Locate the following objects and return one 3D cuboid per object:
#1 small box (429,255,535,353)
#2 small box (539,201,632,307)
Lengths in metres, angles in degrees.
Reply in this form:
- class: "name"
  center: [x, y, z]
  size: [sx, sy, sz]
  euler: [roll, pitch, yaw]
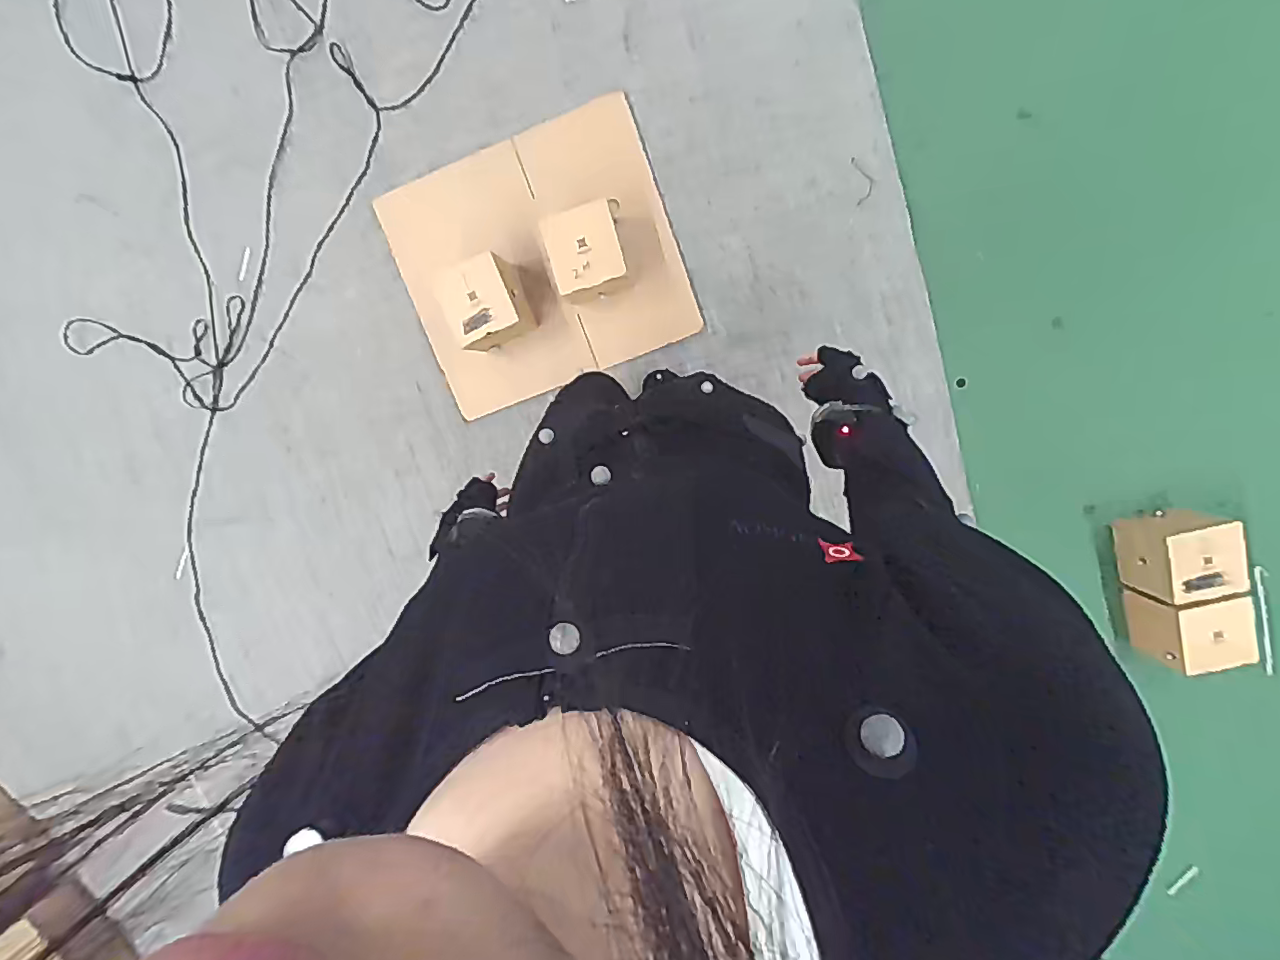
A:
- class: "small box"
  center: [-0.379, -0.424, 1.334]
  size: [0.168, 0.176, 0.179]
  euler: [-22, 98, 8]
- class: "small box"
  center: [-0.124, -0.533, 1.299]
  size: [0.168, 0.176, 0.179]
  euler: [-15, 99, 8]
